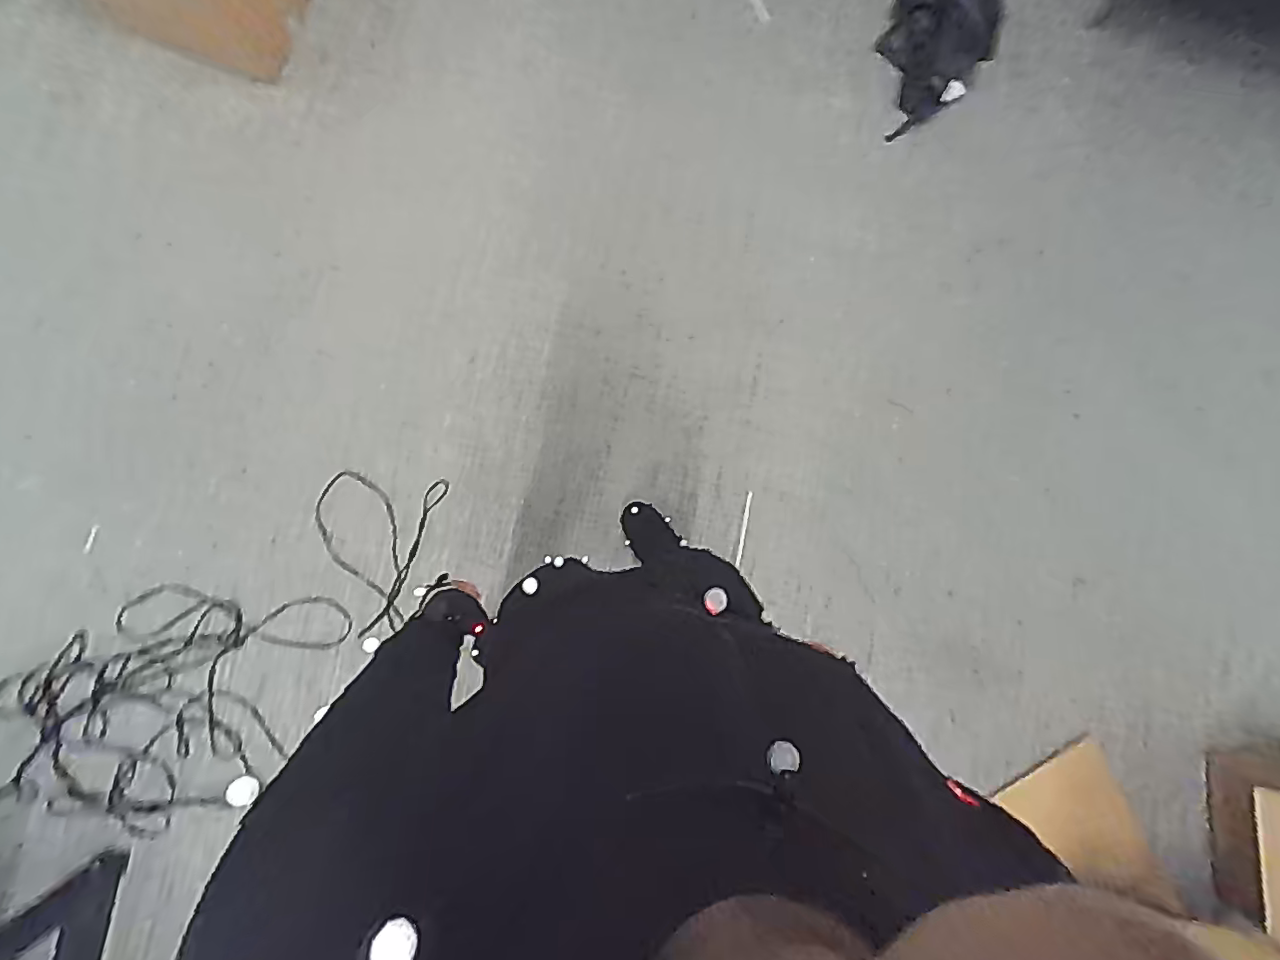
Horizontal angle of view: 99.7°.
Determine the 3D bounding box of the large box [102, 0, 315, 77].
[{"bbox_3d":[-1.017,-1.206,1.194,0.408,0.320,0.320,18,86,-5],"label":"large box"}]
